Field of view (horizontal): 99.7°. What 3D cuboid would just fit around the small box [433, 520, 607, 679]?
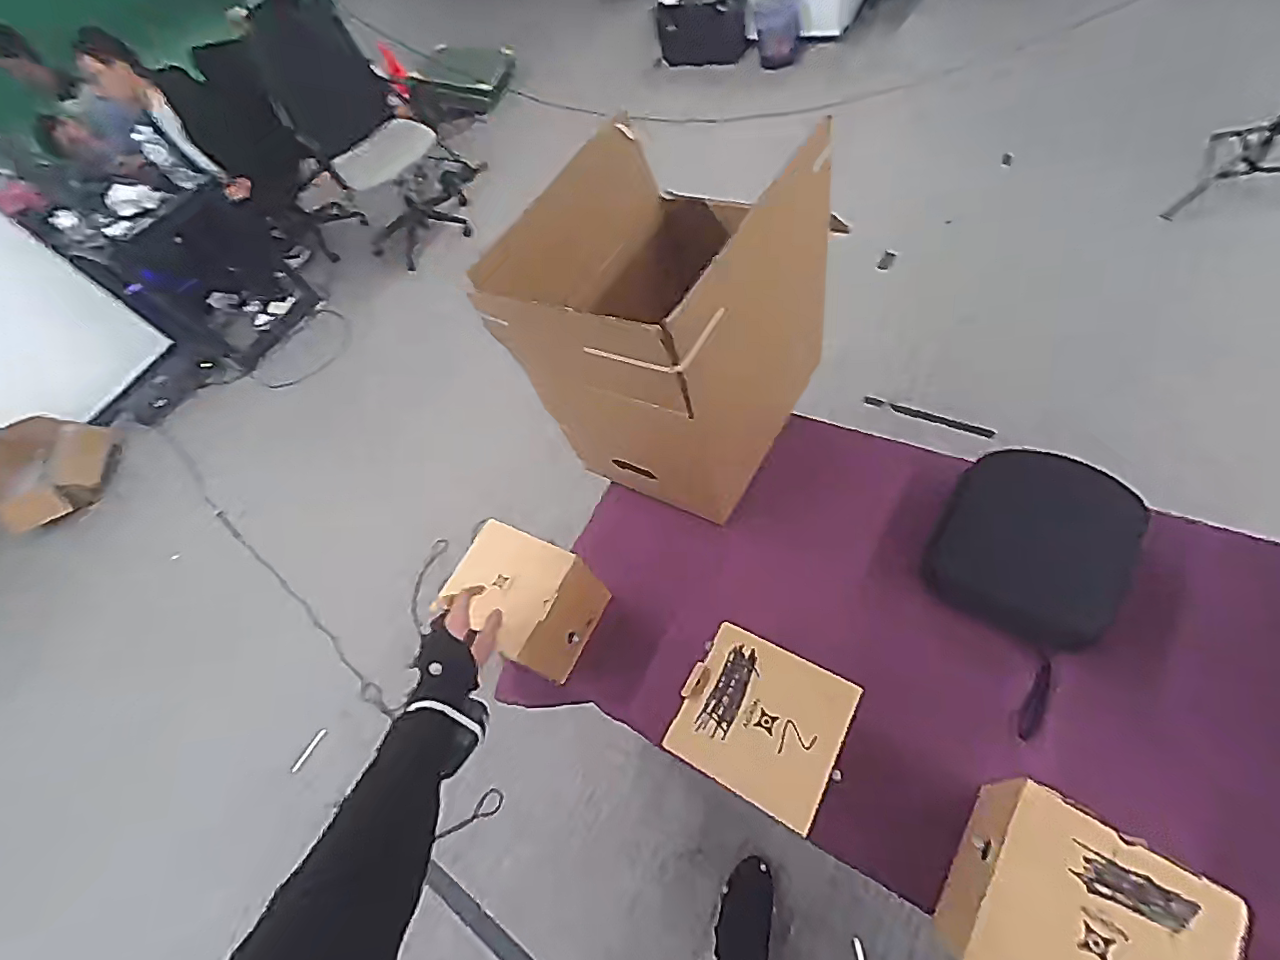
[{"bbox_3d":[-0.180,0.194,0.857,0.179,0.176,0.168,19,66,25],"label":"small box"}]

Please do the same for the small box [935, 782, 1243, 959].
[{"bbox_3d":[0.413,0.430,0.528,0.168,0.176,0.179,25,69,29],"label":"small box"}]
